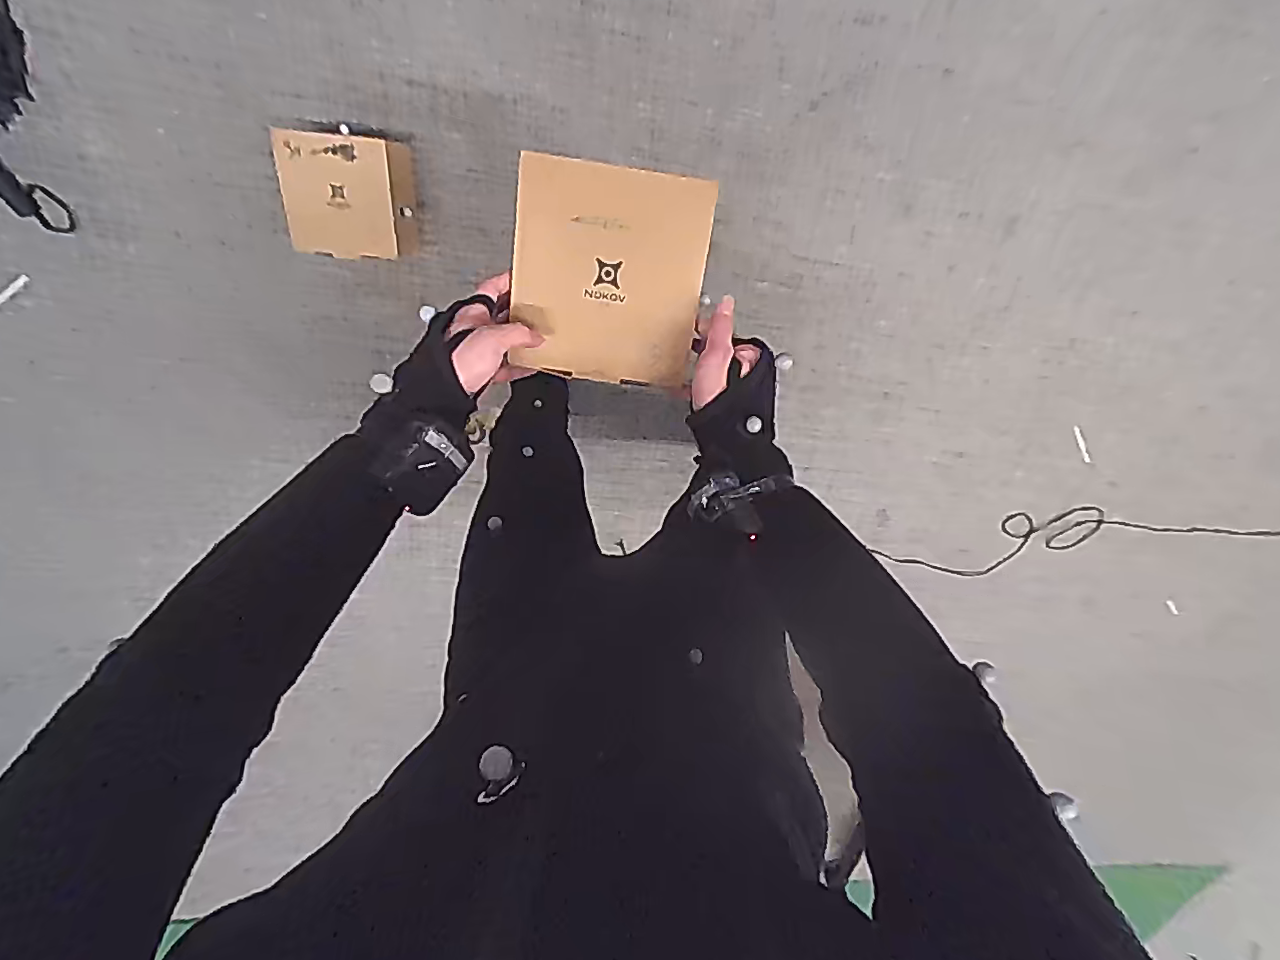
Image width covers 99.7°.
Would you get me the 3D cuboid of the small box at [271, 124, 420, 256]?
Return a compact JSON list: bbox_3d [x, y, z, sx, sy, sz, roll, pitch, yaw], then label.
[{"bbox_3d":[-0.489,-0.497,0.931,0.168,0.176,0.179,1,120,-8],"label":"small box"}]
